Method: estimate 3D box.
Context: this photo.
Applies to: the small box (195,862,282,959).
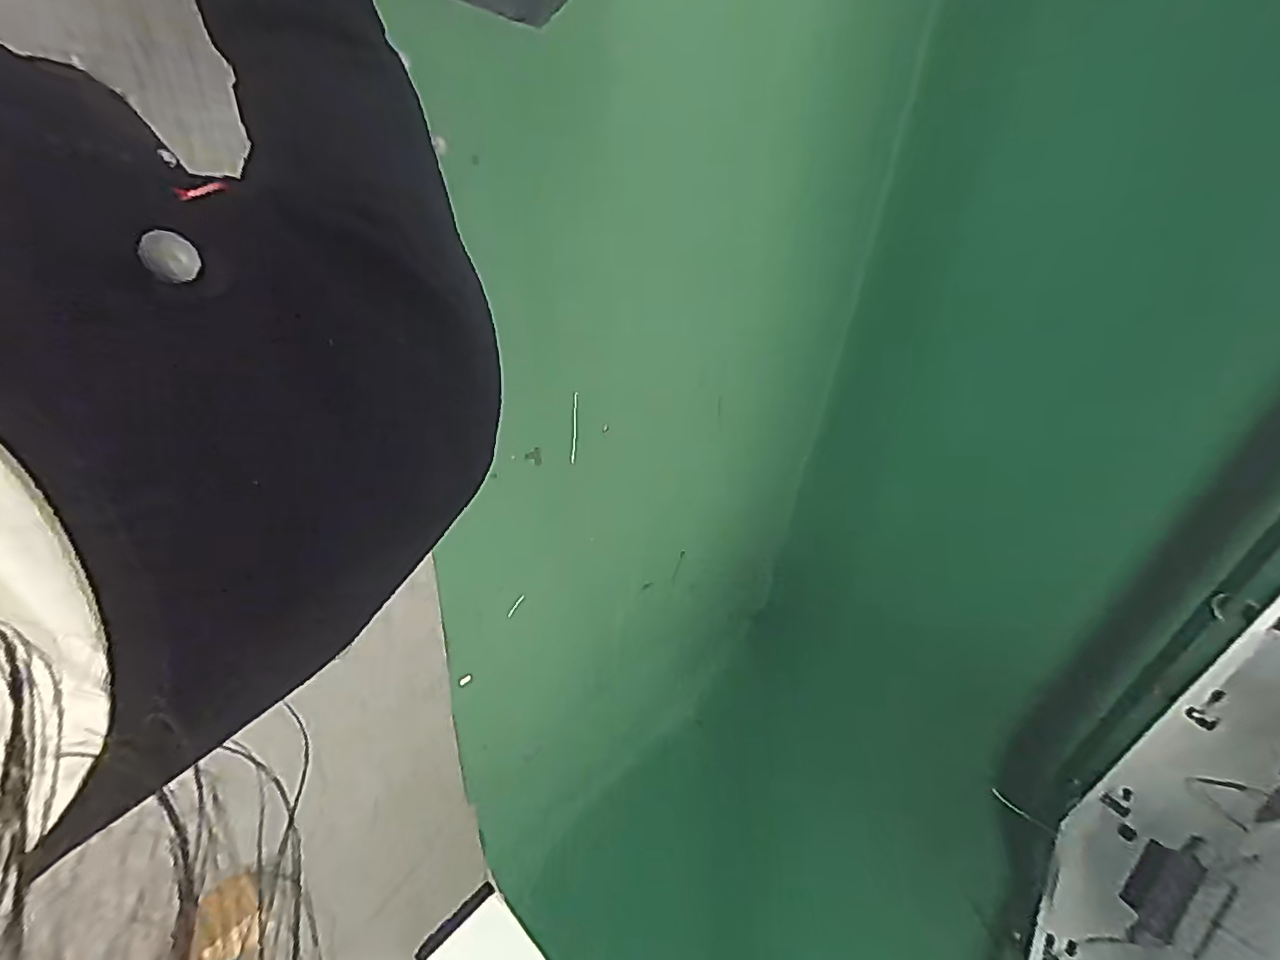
[{"bbox_3d":[-1.343,1.440,1.802,0.179,0.176,0.168,-31,138,-40],"label":"small box"}]
